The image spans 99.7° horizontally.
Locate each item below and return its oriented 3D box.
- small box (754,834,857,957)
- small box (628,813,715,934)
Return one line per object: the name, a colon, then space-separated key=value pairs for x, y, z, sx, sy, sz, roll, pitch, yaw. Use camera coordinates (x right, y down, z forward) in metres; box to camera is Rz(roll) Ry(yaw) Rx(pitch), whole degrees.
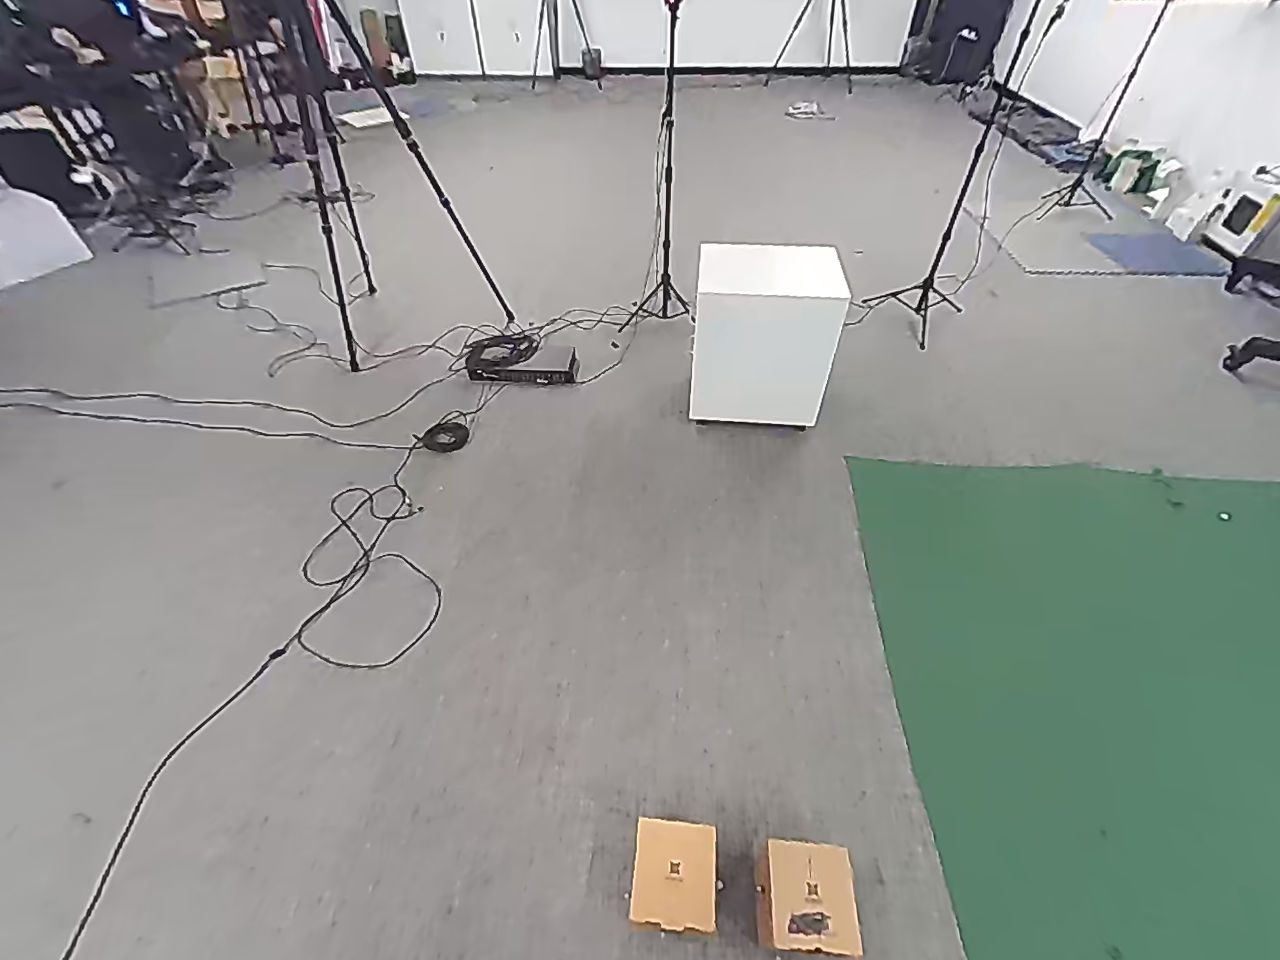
small box: x=0.331 y=0.860 z=1.116 sx=0.168 sy=0.176 sz=0.179 roll=4 pitch=46 yaw=4
small box: x=0.065 y=0.832 z=1.143 sx=0.168 sy=0.176 sz=0.179 roll=5 pitch=47 yaw=4
